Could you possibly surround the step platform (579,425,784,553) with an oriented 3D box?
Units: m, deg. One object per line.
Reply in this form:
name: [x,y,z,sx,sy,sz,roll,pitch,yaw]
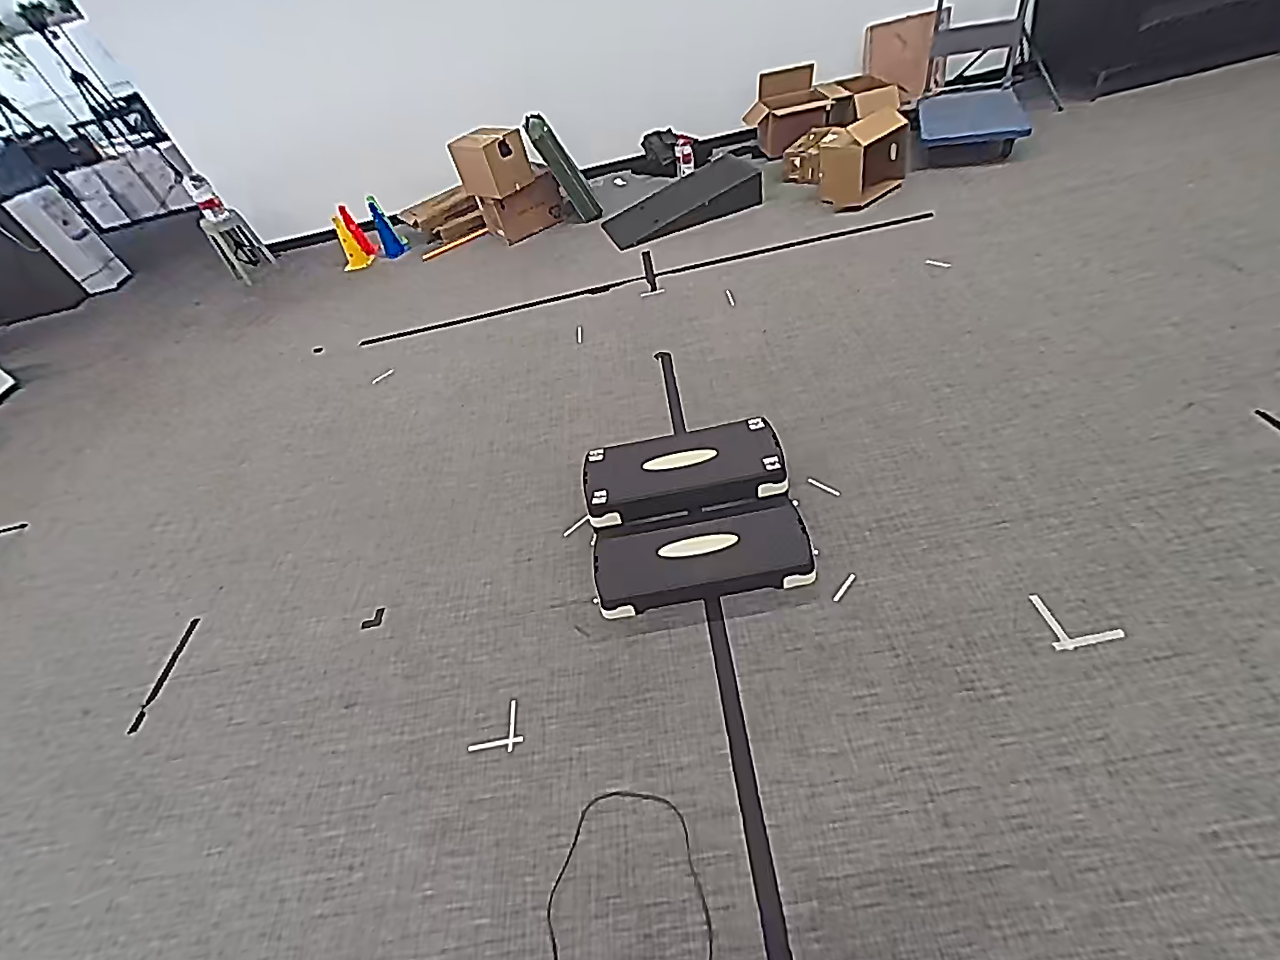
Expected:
step platform: [0.133,0.025,1.844,0.684,0.204,0.286,-11,46,3]
